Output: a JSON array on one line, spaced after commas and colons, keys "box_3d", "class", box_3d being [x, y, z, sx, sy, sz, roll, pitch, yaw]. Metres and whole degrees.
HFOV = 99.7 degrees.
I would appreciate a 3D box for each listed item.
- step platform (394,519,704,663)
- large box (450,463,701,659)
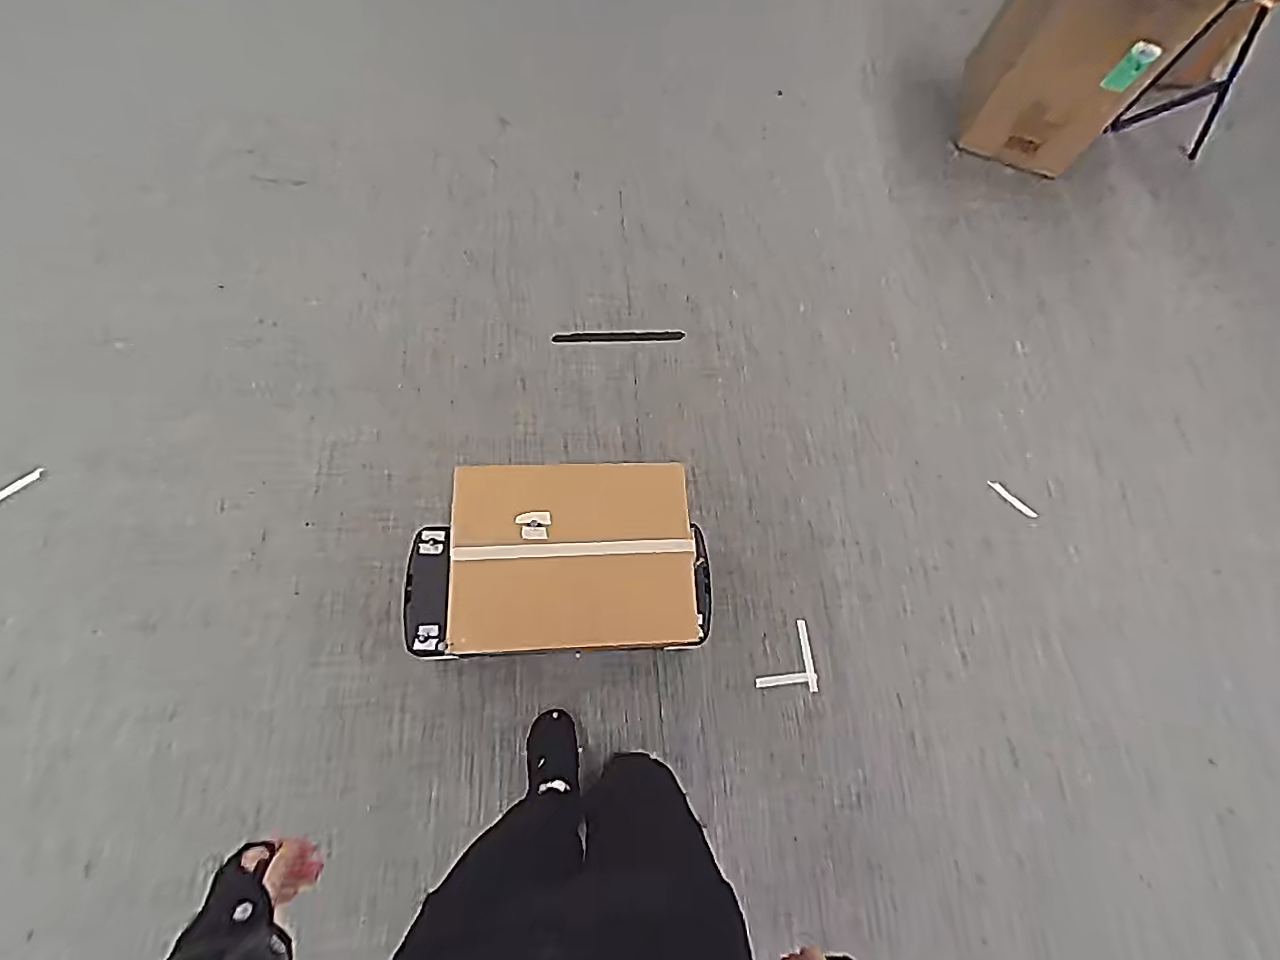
[{"box_3d": [-0.194, 0.261, 1.255, 0.684, 0.204, 0.286, 4, 71, -4], "class": "step platform"}, {"box_3d": [-0.119, 0.168, 1.041, 0.408, 0.320, 0.320, -2, 71, -5], "class": "large box"}]
